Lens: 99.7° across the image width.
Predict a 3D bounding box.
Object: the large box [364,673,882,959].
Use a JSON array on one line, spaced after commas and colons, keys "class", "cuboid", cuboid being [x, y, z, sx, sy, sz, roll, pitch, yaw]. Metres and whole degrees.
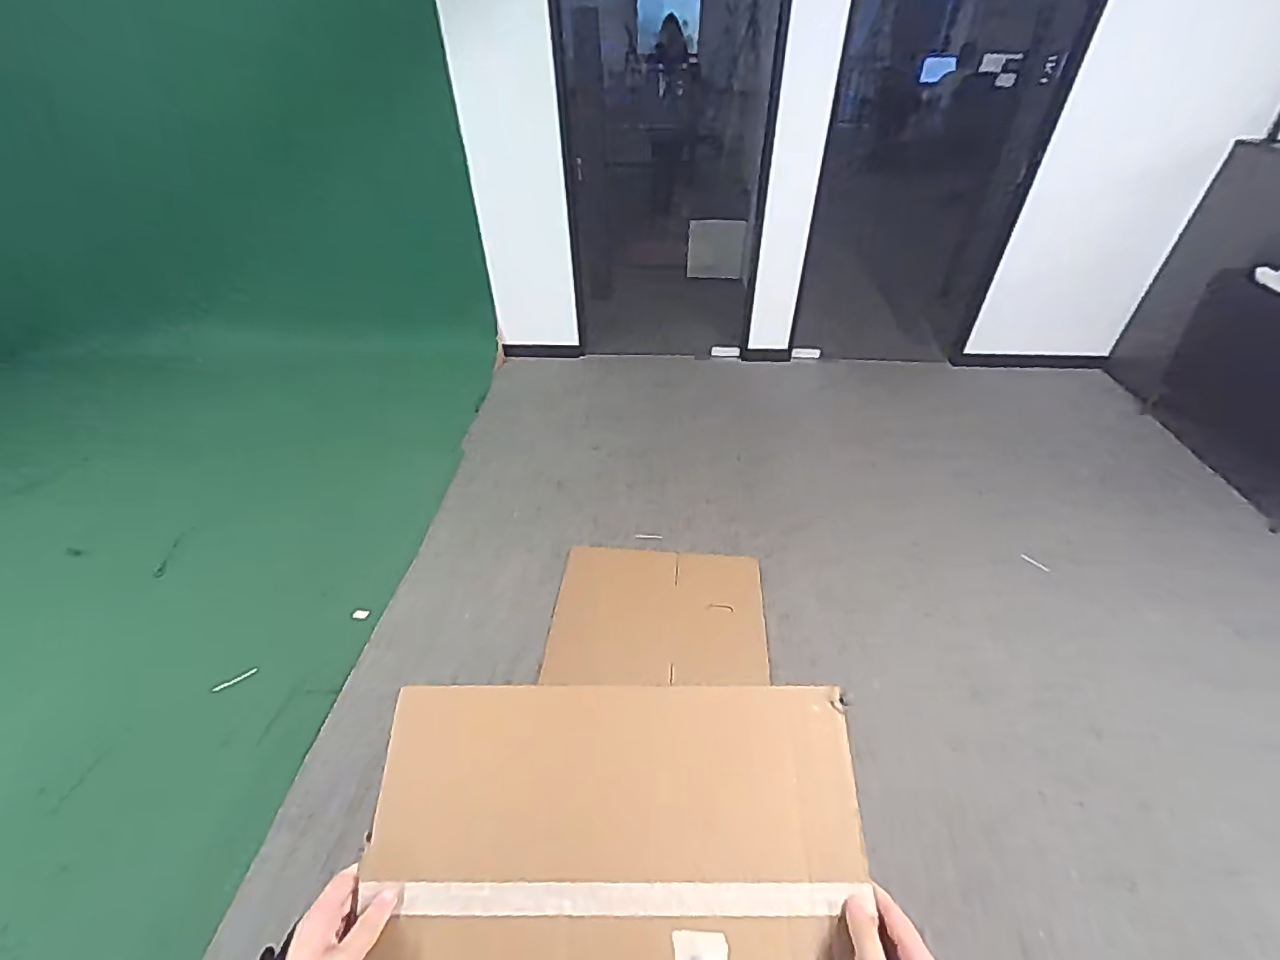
[{"class": "large box", "cuboid": [-0.015, 0.387, 0.568, 0.408, 0.320, 0.320, 0, 64, 0]}]
